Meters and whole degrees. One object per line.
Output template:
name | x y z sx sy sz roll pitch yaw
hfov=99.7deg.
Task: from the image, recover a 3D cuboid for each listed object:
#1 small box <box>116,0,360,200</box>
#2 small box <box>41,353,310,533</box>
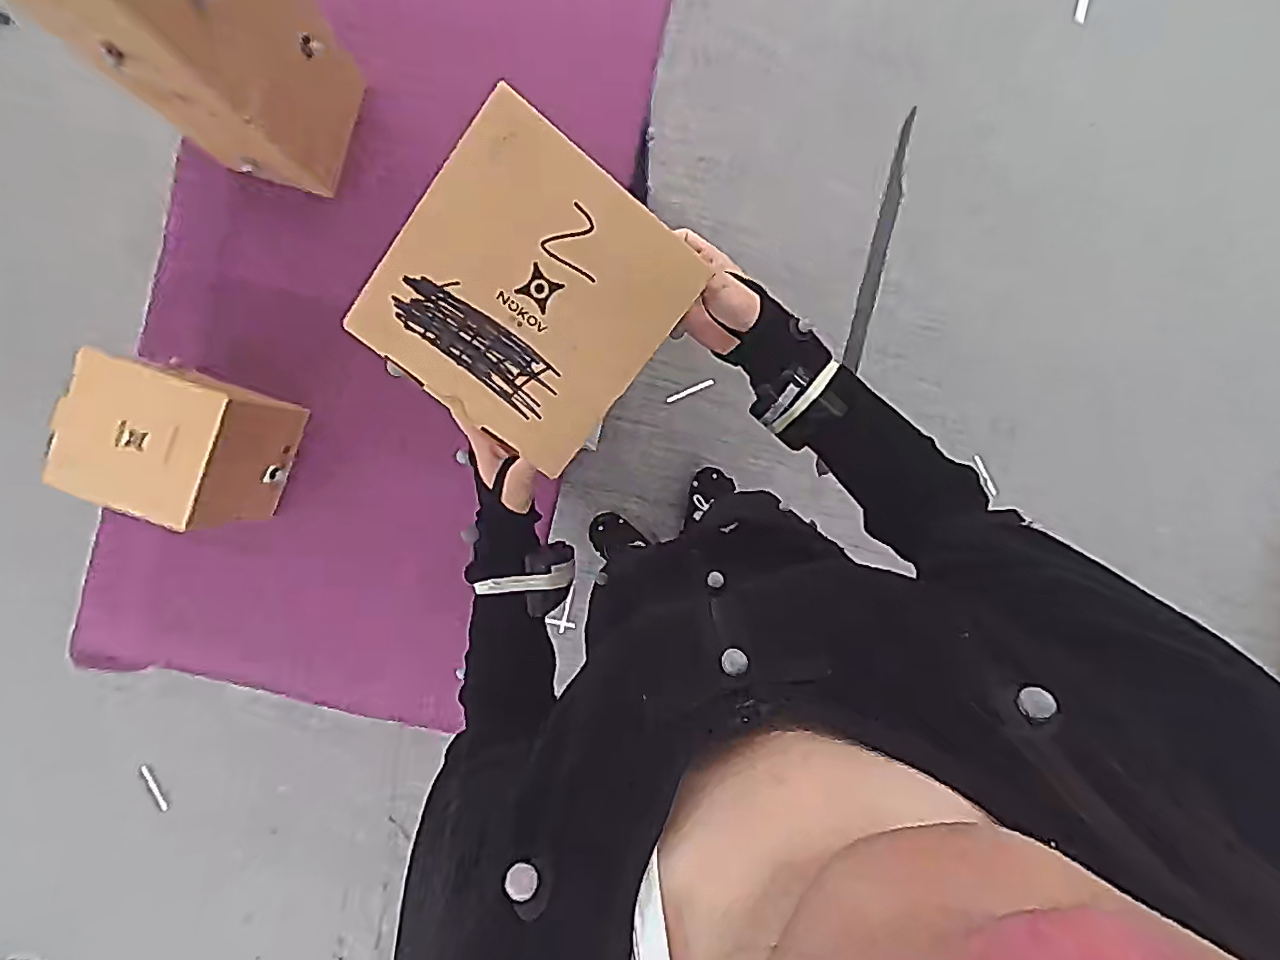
small box | -0.489 -0.501 0.689 0.168 0.176 0.179 16 91 -1
small box | -0.574 -0.043 0.694 0.179 0.176 0.168 18 91 -3
